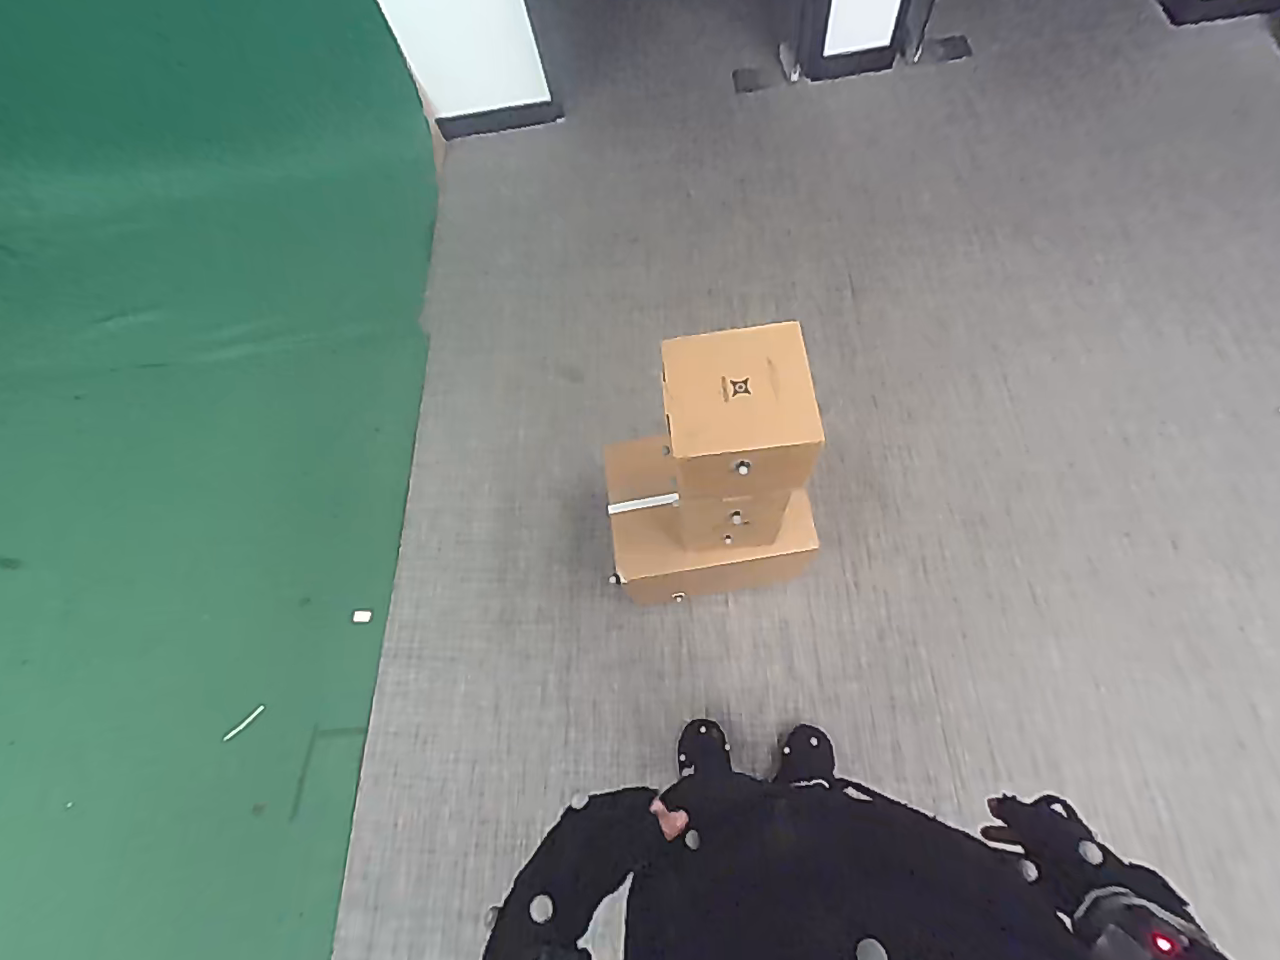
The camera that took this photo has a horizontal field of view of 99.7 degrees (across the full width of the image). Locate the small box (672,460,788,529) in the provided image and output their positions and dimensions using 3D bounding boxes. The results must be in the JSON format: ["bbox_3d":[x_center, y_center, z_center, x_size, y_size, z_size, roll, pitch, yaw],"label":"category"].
[{"bbox_3d":[0.139,-0.024,0.885,0.168,0.176,0.179,-8,68,5],"label":"small box"}]

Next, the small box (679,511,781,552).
[{"bbox_3d":[0.163,0.035,1.035,0.179,0.176,0.168,-6,68,7],"label":"small box"}]

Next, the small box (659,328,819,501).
[{"bbox_3d":[0.126,-0.078,0.732,0.179,0.176,0.168,-7,69,5],"label":"small box"}]
